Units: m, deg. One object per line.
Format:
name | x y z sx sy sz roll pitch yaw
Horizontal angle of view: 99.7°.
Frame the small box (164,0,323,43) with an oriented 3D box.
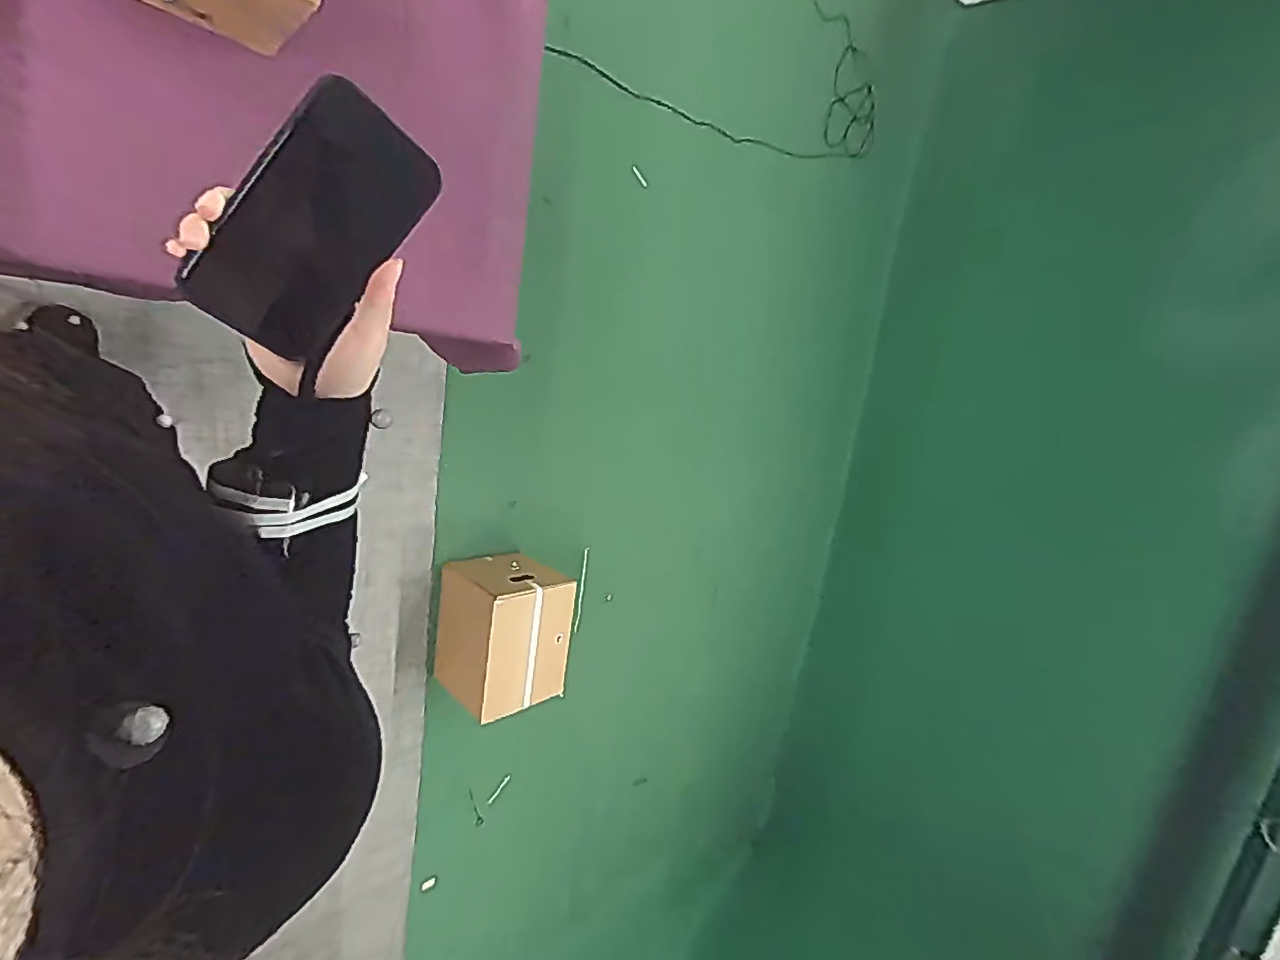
small box | -0.386 -0.531 0.463 0.168 0.176 0.179 -5 109 -47
